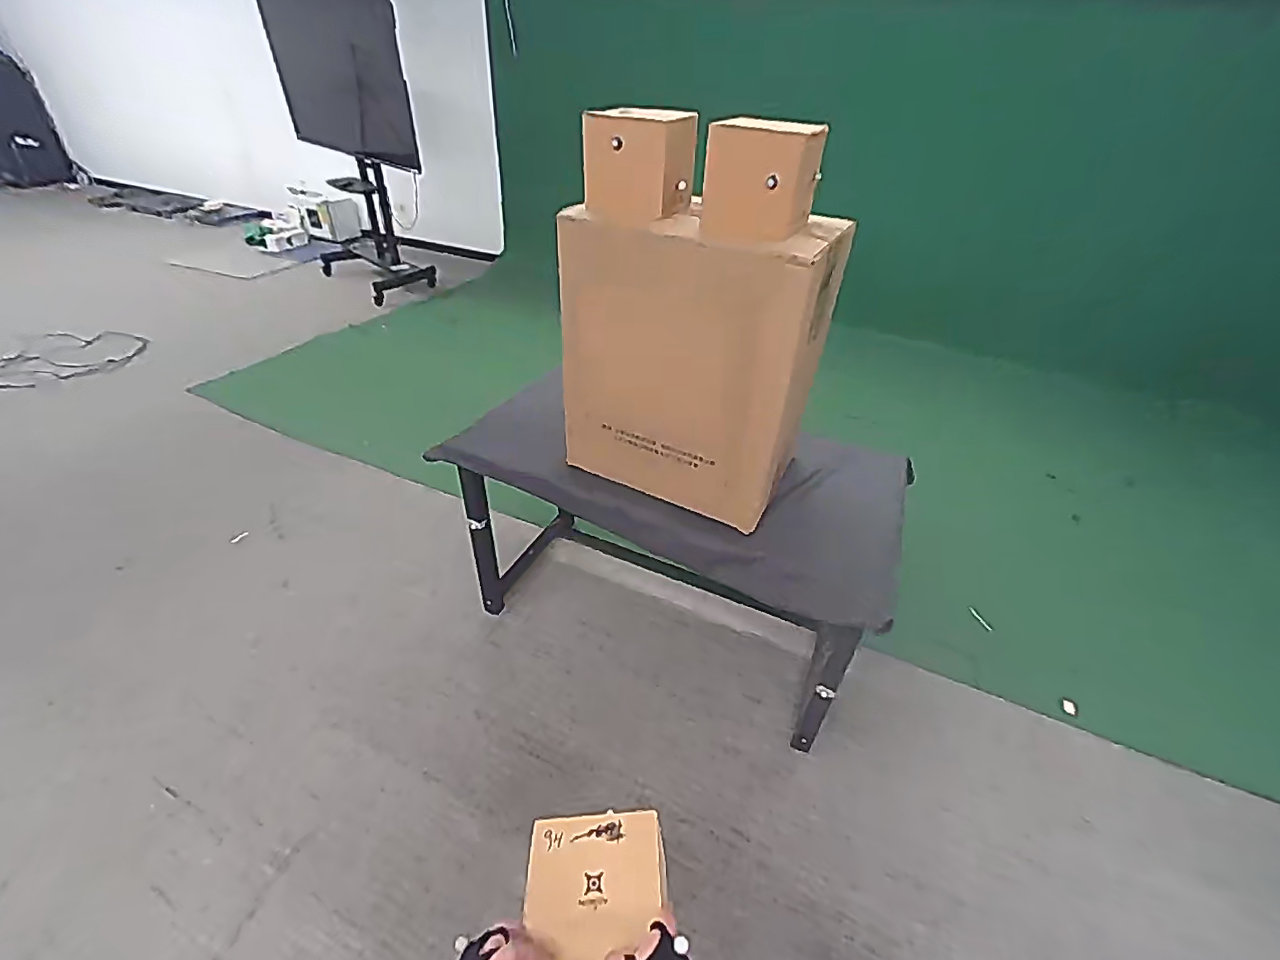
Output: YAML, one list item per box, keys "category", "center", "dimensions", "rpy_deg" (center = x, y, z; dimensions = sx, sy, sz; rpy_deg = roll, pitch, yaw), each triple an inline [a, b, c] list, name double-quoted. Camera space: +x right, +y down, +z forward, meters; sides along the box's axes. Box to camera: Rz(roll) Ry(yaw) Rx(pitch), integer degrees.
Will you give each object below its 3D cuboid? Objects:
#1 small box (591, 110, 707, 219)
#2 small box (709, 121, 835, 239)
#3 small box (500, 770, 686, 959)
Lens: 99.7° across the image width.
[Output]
- category: "small box"
  center: [0.019, -0.646, 1.105]
  dimensions: [0.179, 0.176, 0.168]
  rpy_deg: [20, 44, 22]
- category: "small box"
  center: [0.246, -0.568, 1.025]
  dimensions: [0.179, 0.176, 0.168]
  rpy_deg: [20, 41, 21]
- category: "small box"
  center: [-0.055, 0.537, 0.707]
  dimensions: [0.179, 0.176, 0.168]
  rpy_deg: [-25, 37, -22]
